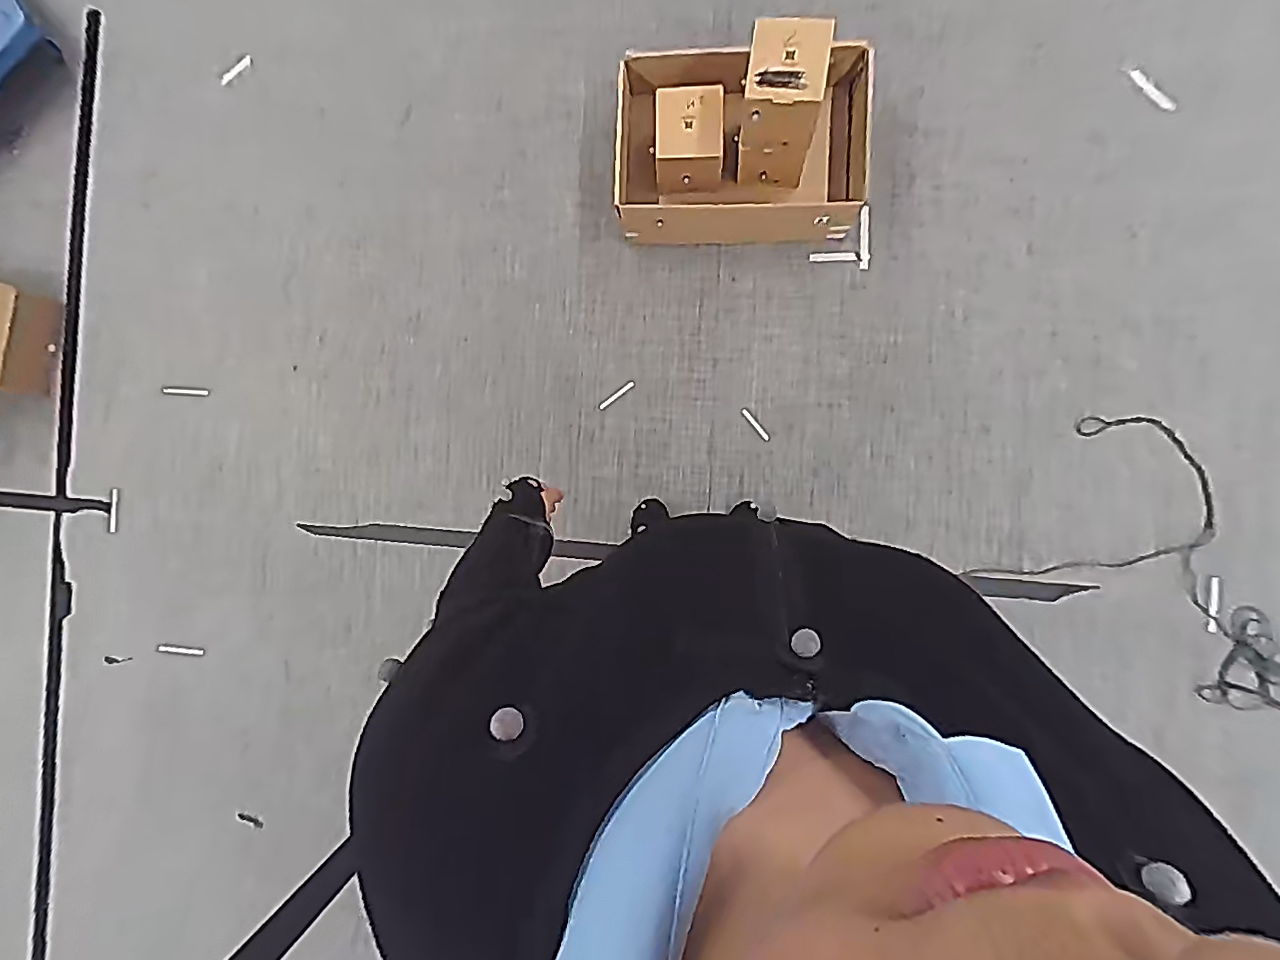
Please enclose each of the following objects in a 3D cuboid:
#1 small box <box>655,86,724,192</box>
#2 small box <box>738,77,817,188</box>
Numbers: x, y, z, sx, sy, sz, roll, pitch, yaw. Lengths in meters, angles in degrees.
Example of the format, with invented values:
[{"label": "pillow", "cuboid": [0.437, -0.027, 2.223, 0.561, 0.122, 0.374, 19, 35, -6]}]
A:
[{"label": "small box", "cuboid": [0.126, -0.867, 1.392, 0.168, 0.176, 0.179, 0, 89, 3]}, {"label": "small box", "cuboid": [0.342, -0.877, 1.373, 0.168, 0.176, 0.179, 7, 91, 8]}]
